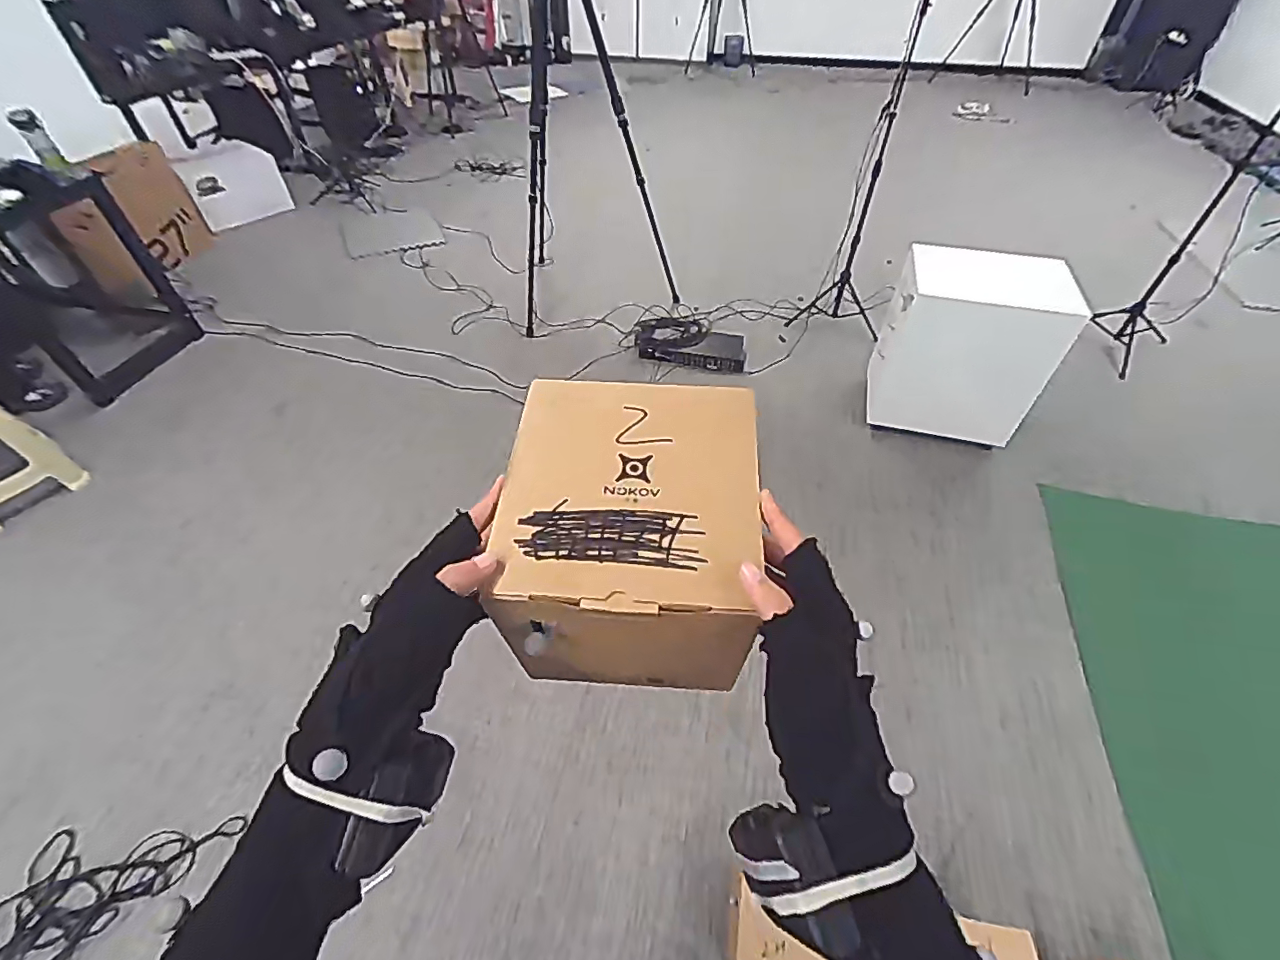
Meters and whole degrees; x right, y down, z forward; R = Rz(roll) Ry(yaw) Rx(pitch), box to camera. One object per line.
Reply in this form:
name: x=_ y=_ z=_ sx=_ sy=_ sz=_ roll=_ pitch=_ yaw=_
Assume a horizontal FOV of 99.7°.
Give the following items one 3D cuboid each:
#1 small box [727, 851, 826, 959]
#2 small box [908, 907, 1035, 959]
small box: x=0.271 y=0.883 z=1.090 sx=0.168 sy=0.176 sz=0.179 roll=8 pitch=49 yaw=9
small box: x=0.636 y=0.951 z=1.034 sx=0.168 sy=0.176 sz=0.179 roll=8 pitch=47 yaw=6
